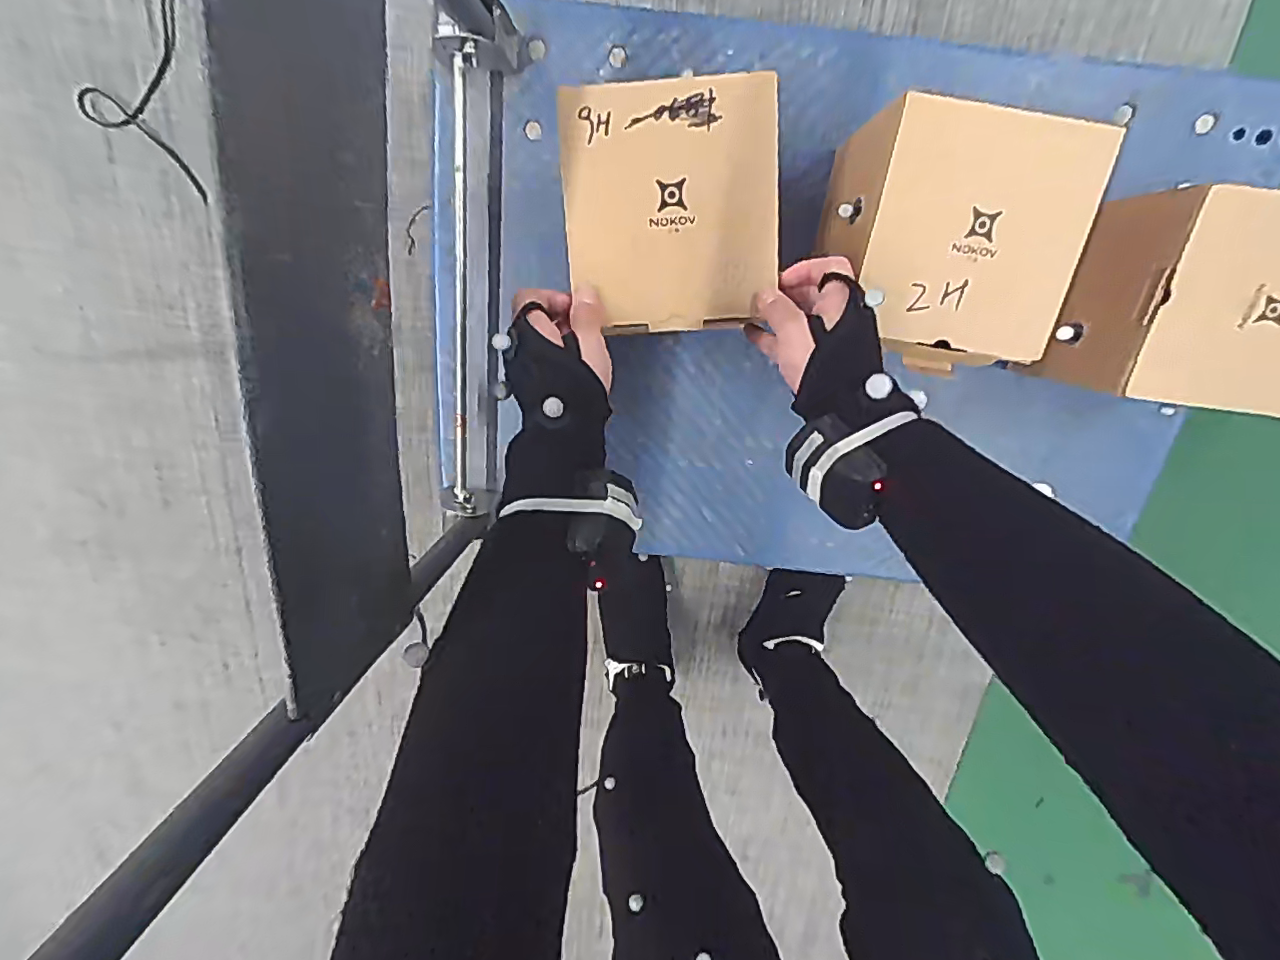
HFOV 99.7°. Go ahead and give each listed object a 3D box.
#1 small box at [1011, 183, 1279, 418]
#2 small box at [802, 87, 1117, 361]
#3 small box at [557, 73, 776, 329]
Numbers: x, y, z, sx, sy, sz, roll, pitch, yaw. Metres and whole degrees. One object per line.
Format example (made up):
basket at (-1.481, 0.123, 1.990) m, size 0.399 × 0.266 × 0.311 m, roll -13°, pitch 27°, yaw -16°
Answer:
small box at (0.503, -0.164, 0.513) m, size 0.179 × 0.176 × 0.168 m, roll 8°, pitch 109°, yaw 0°
small box at (0.265, -0.221, 0.502) m, size 0.168 × 0.176 × 0.179 m, roll 11°, pitch 109°, yaw 0°
small box at (0.025, -0.232, 0.497) m, size 0.168 × 0.176 × 0.179 m, roll -2°, pitch 103°, yaw 2°
